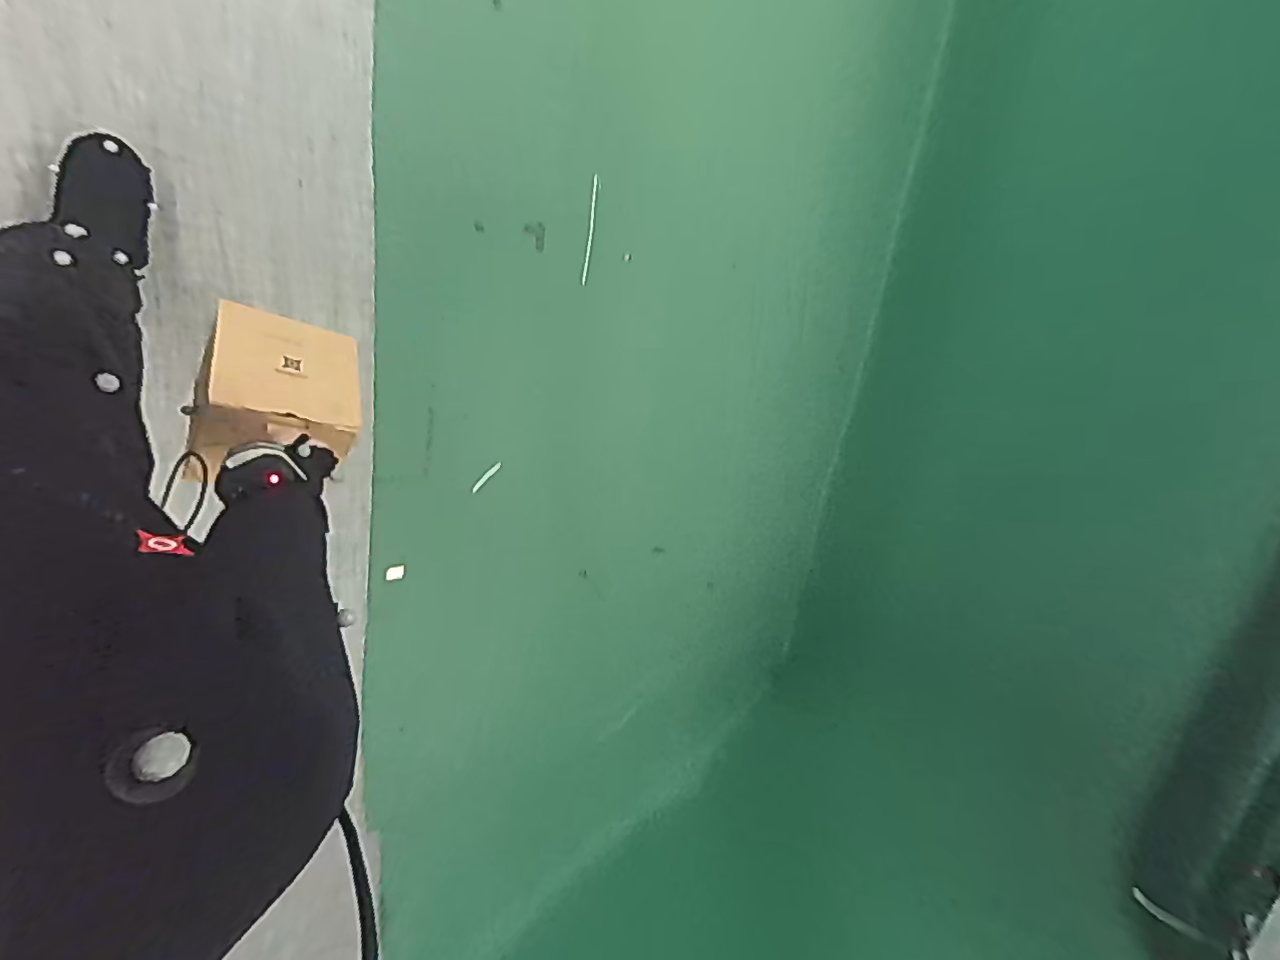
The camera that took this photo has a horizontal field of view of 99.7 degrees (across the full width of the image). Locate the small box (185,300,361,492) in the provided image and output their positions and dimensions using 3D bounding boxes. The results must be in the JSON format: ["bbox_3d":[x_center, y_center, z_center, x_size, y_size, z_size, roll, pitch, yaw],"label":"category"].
[{"bbox_3d":[-0.500,-0.102,0.740,0.168,0.179,0.176,11,139,-44],"label":"small box"}]
